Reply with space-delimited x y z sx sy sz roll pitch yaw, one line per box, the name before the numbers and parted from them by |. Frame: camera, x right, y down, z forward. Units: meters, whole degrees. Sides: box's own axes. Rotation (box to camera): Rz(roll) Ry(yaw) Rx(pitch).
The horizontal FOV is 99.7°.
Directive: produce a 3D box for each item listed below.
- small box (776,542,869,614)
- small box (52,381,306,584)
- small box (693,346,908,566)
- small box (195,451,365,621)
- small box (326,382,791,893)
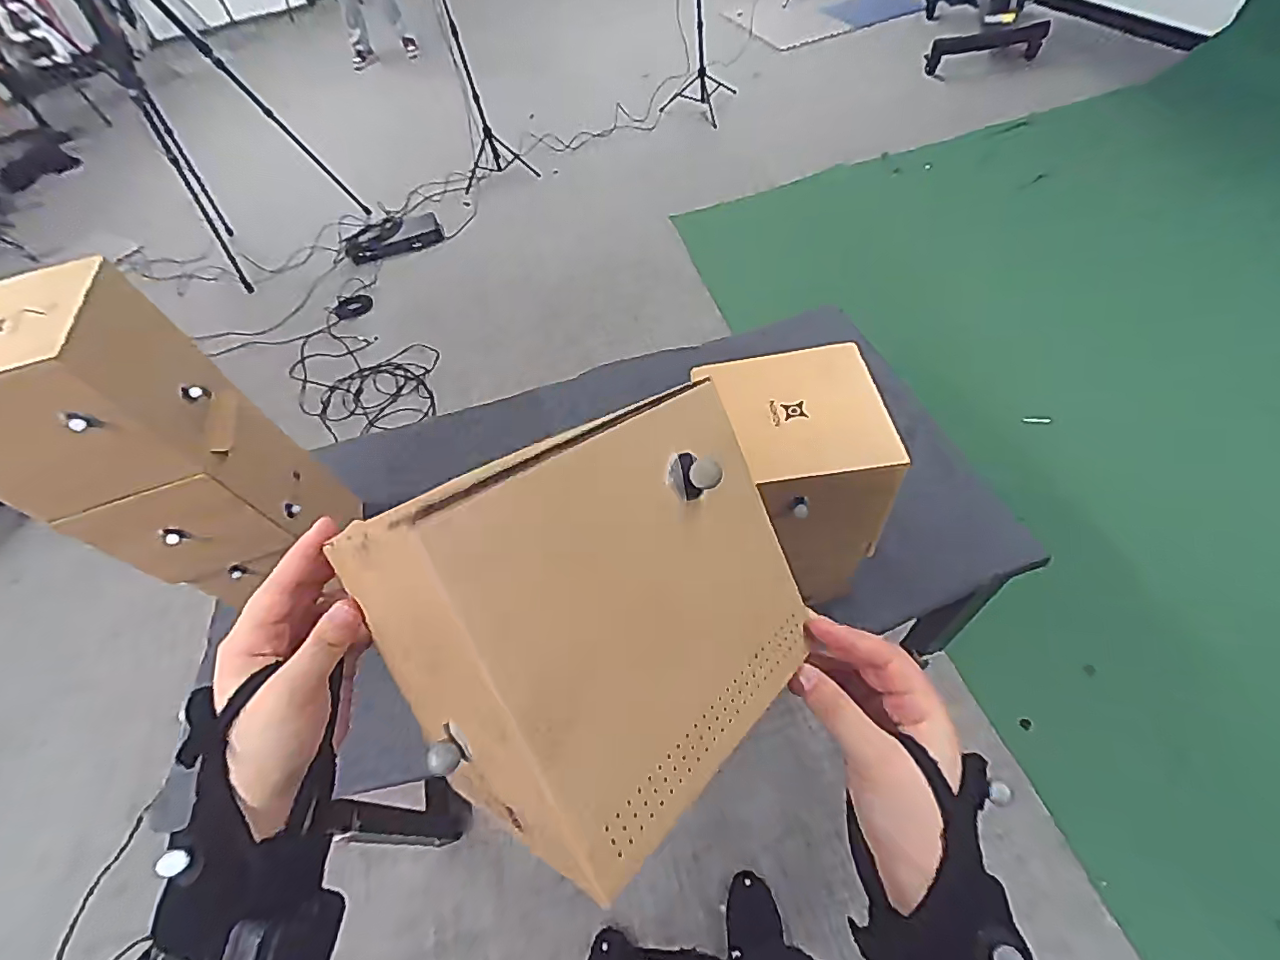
small box | 0.178 0.068 0.726 0.168 0.176 0.179 -17 53 -1
small box | -0.565 0.008 0.697 0.179 0.176 0.168 -20 55 -4
small box | 0.157 -0.016 0.587 0.179 0.176 0.168 -9 53 6
small box | -0.548 0.090 0.840 0.168 0.176 0.179 -20 54 -5
small box | -0.037 0.067 0.307 0.179 0.176 0.168 -33 13 -37
